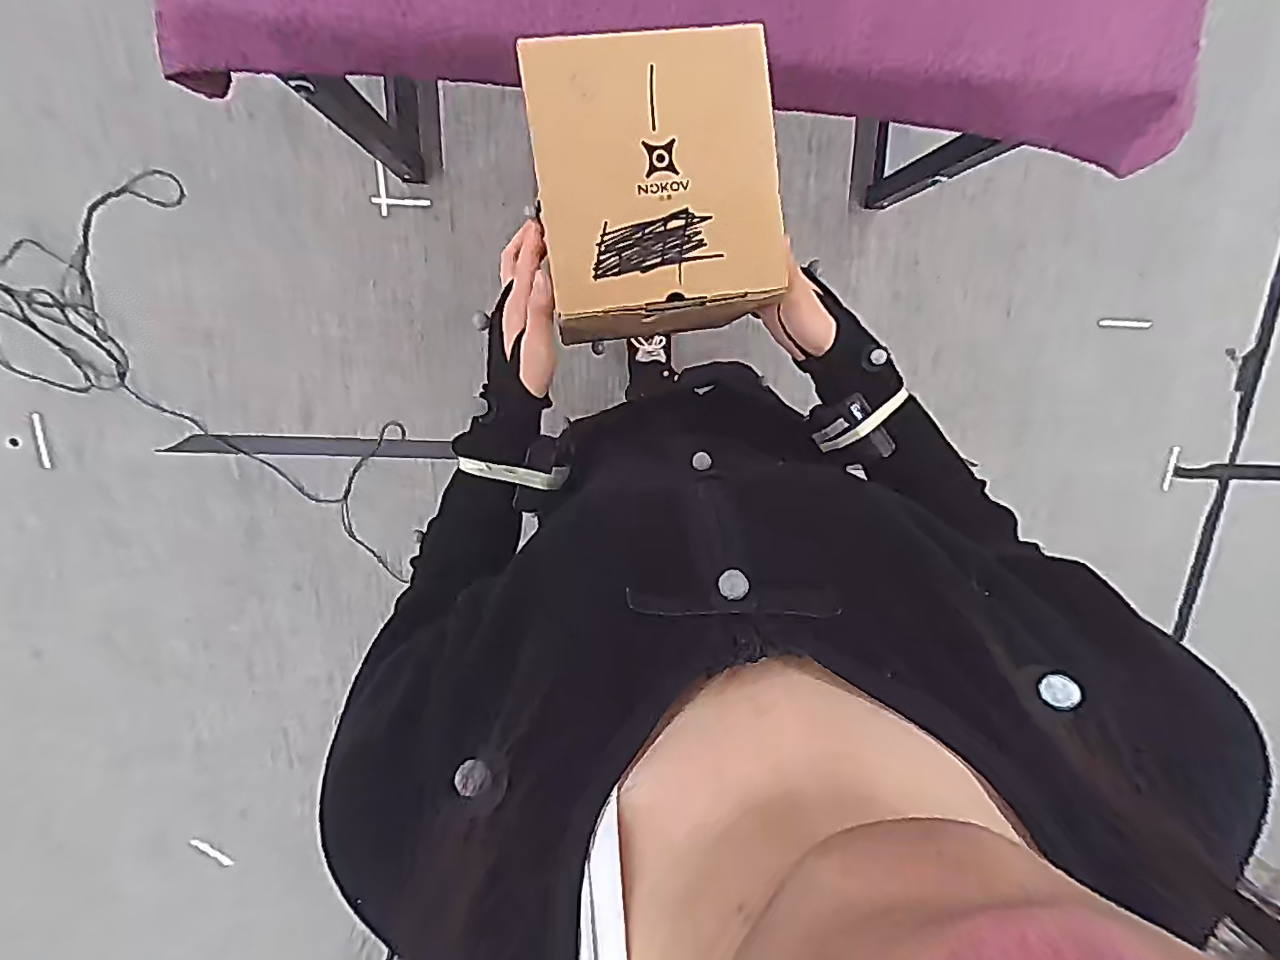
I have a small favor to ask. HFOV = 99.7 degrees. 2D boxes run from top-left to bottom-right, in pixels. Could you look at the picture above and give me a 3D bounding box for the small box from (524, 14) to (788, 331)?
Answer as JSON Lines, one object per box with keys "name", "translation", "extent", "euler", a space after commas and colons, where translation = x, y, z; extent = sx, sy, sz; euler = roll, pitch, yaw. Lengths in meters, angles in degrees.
{"name": "small box", "translation": [0.007, -0.223, 0.441], "extent": [0.168, 0.176, 0.179], "euler": [-8, 97, -6]}
